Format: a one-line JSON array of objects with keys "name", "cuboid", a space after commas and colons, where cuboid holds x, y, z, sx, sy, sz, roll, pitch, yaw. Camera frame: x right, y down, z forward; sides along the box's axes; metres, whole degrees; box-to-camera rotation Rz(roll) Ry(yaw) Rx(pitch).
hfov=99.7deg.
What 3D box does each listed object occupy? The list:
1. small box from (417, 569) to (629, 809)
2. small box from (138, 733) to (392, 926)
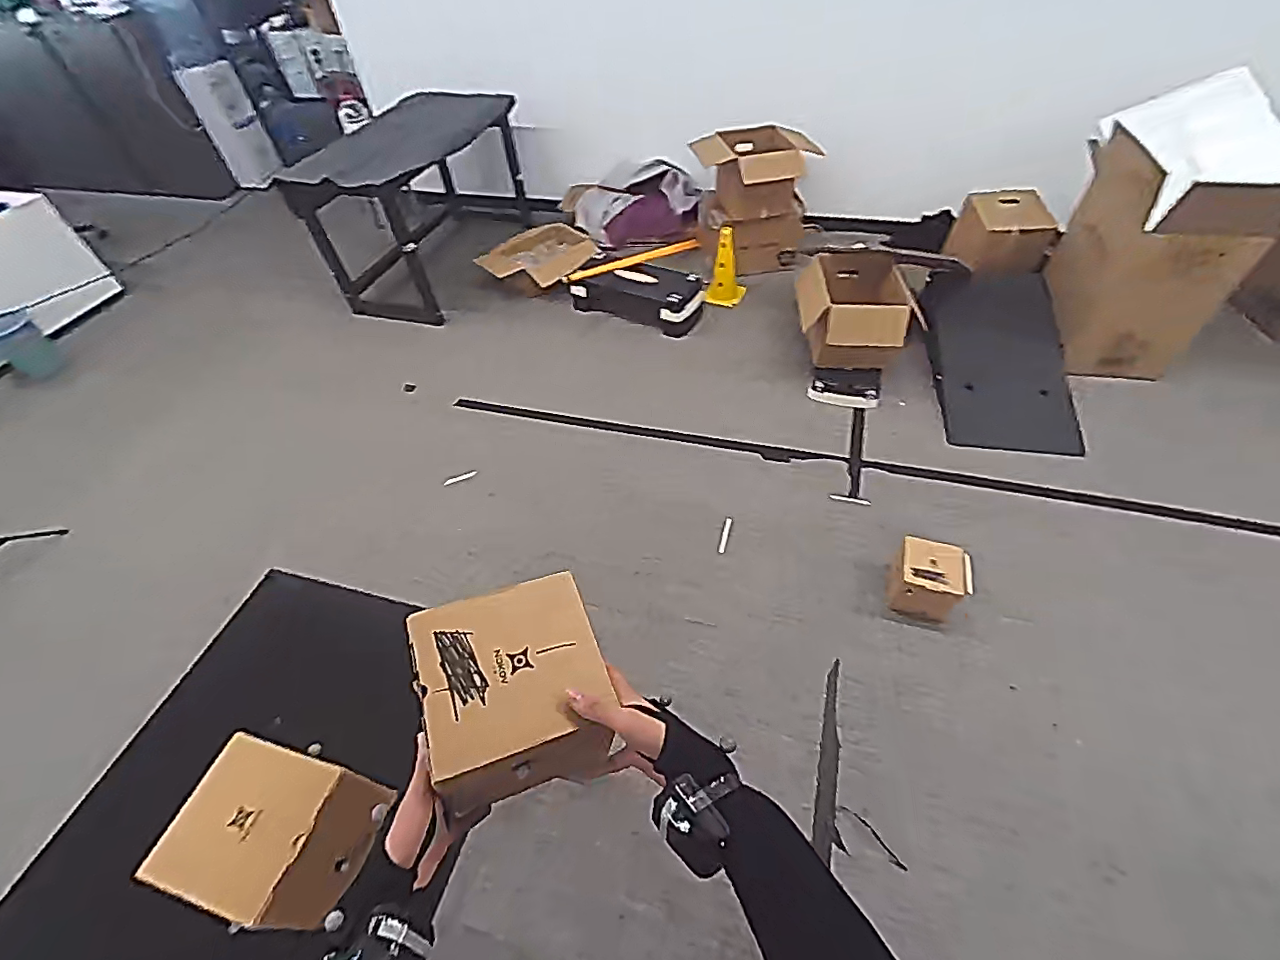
[{"name": "small box", "cuboid": [-0.126, 0.227, 0.584, 0.179, 0.176, 0.168, -12, 53, -20]}, {"name": "small box", "cuboid": [-0.473, 0.464, 0.714, 0.179, 0.176, 0.168, 10, 51, 13]}]
